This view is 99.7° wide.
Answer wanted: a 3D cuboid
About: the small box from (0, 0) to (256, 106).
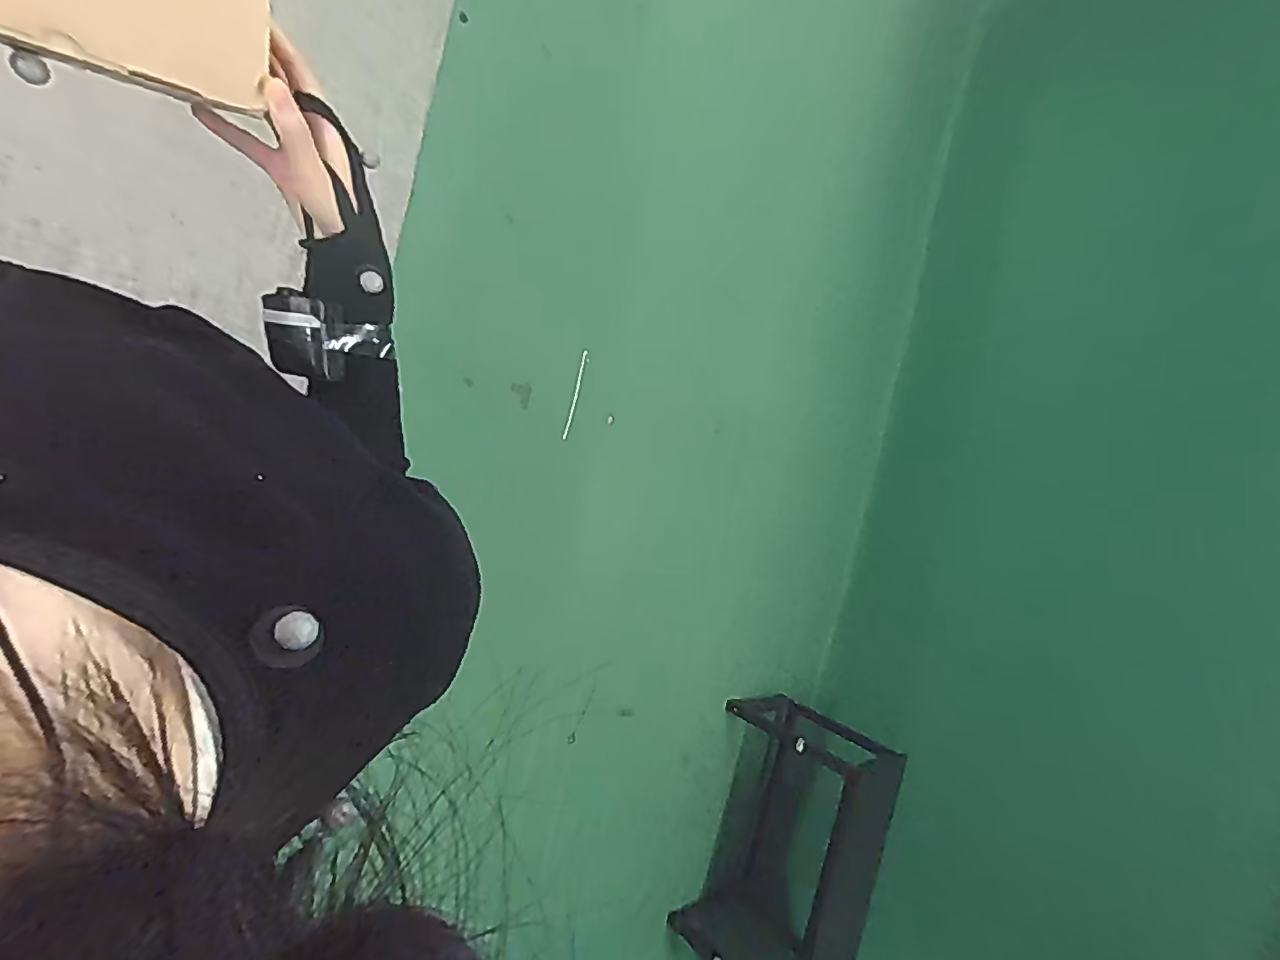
[{"bbox_3d":[-0.309,-0.318,0.260,0.168,0.176,0.179,-10,125,-51],"label":"small box"}]
